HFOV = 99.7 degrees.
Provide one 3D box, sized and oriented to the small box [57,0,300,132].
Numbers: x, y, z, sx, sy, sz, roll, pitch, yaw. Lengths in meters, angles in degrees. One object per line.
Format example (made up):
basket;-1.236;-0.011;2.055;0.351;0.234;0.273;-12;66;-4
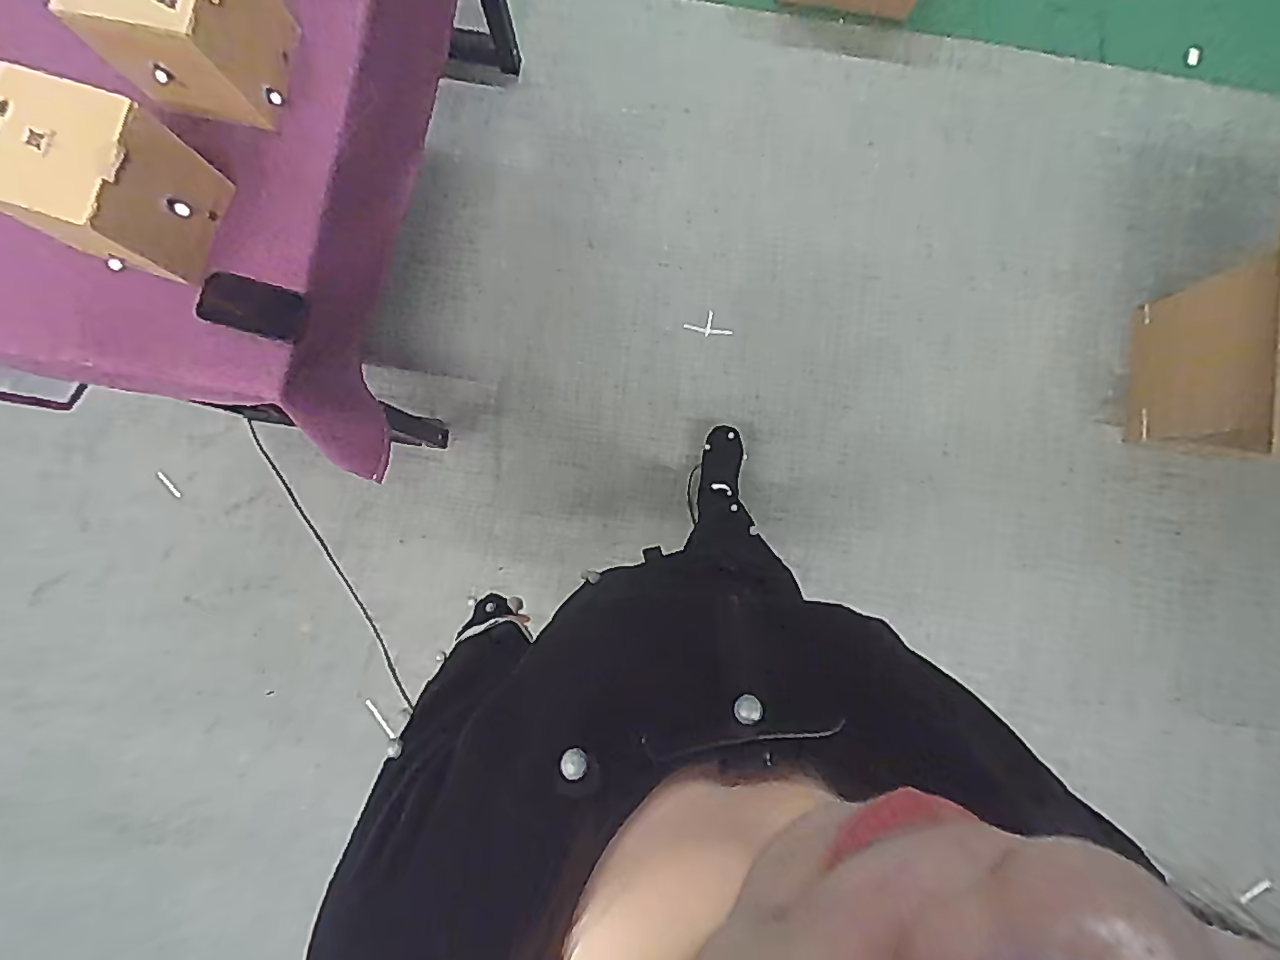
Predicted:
small box;-0.612;-0.619;0.743;0.179;0.176;0.168;10;85;1

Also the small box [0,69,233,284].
small box;-0.705;-0.388;0.725;0.179;0.176;0.168;18;86;1
